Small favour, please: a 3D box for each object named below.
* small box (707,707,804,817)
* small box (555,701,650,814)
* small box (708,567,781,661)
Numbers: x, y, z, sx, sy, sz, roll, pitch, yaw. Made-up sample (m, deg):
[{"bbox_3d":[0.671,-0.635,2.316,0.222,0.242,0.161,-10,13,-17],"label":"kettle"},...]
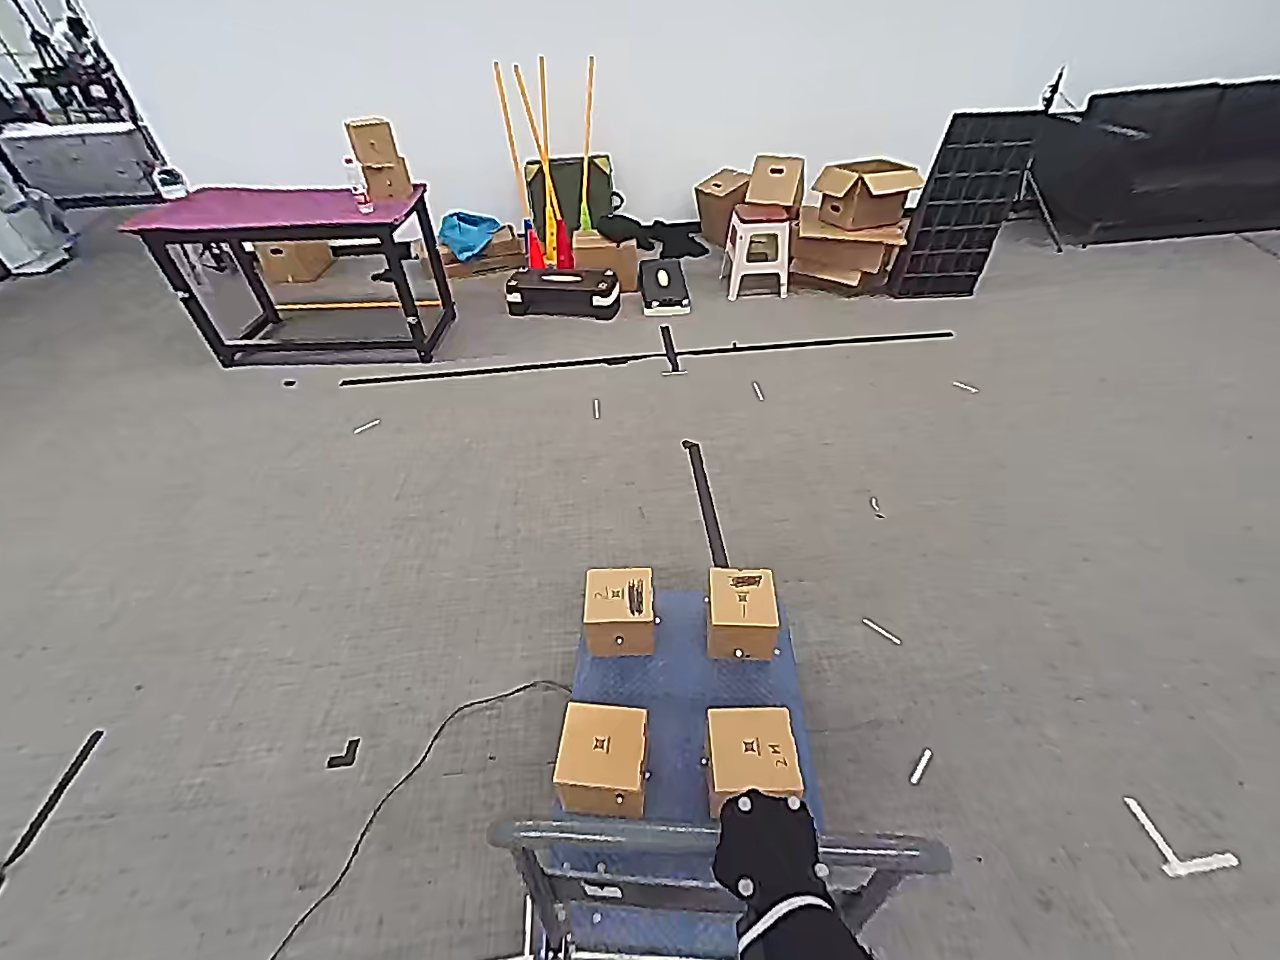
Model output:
[{"bbox_3d":[0.236,0.605,1.158,0.179,0.176,0.168,-1,42,2],"label":"small box"},{"bbox_3d":[-0.073,0.603,1.173,0.179,0.176,0.168,4,42,4],"label":"small box"},{"bbox_3d":[0.269,0.355,1.432,0.168,0.176,0.179,1,44,4],"label":"small box"}]
